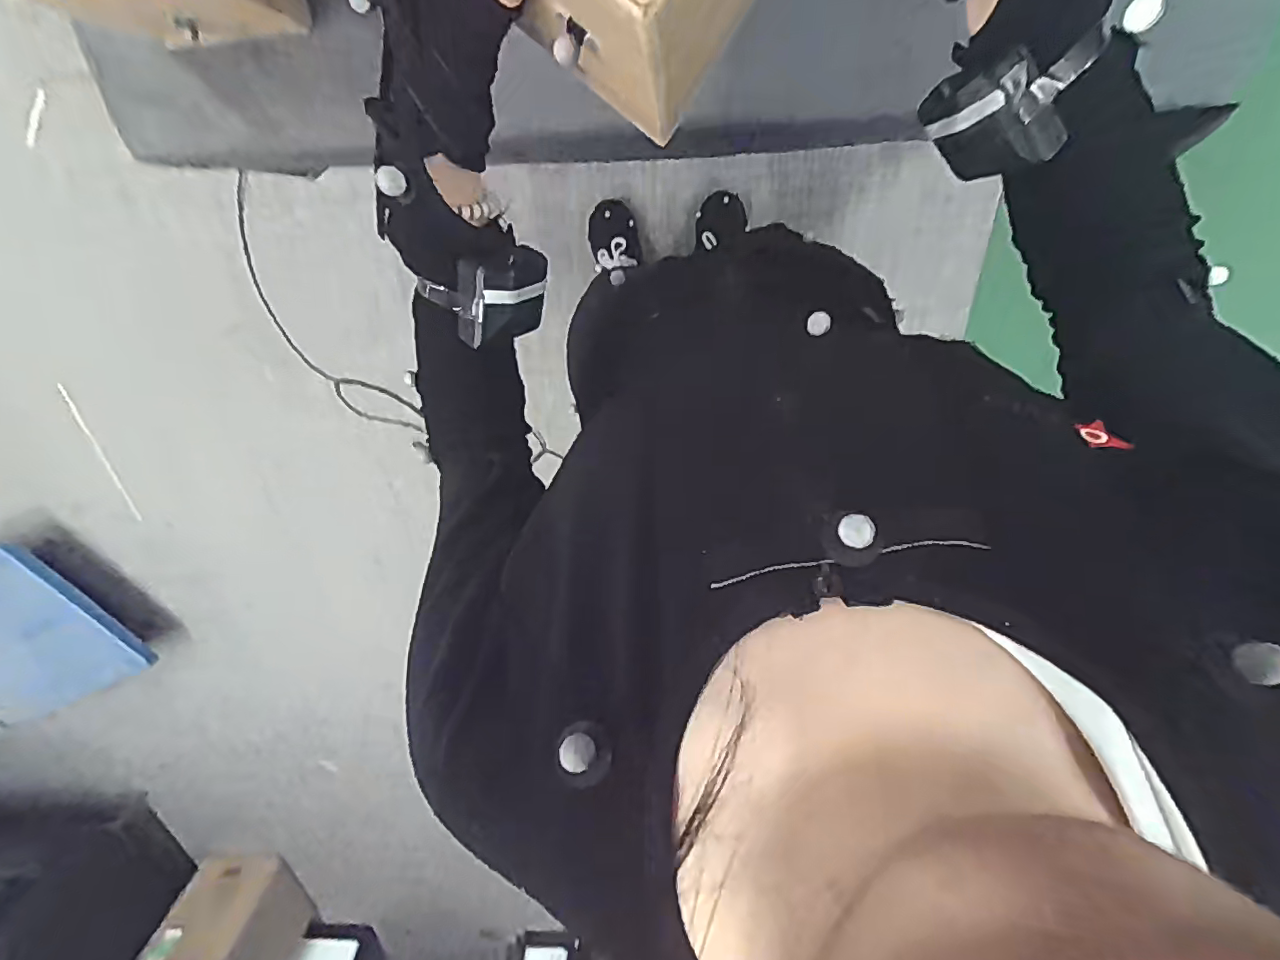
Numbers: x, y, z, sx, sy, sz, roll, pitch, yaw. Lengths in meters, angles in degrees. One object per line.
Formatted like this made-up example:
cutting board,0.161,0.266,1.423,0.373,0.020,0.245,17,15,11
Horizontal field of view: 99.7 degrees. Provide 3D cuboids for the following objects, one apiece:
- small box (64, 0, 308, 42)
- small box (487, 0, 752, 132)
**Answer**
small box,-0.425,-0.501,0.450,0.168,0.176,0.179,-3,118,4
small box,-0.010,-0.294,0.228,0.168,0.176,0.179,35,108,-7
